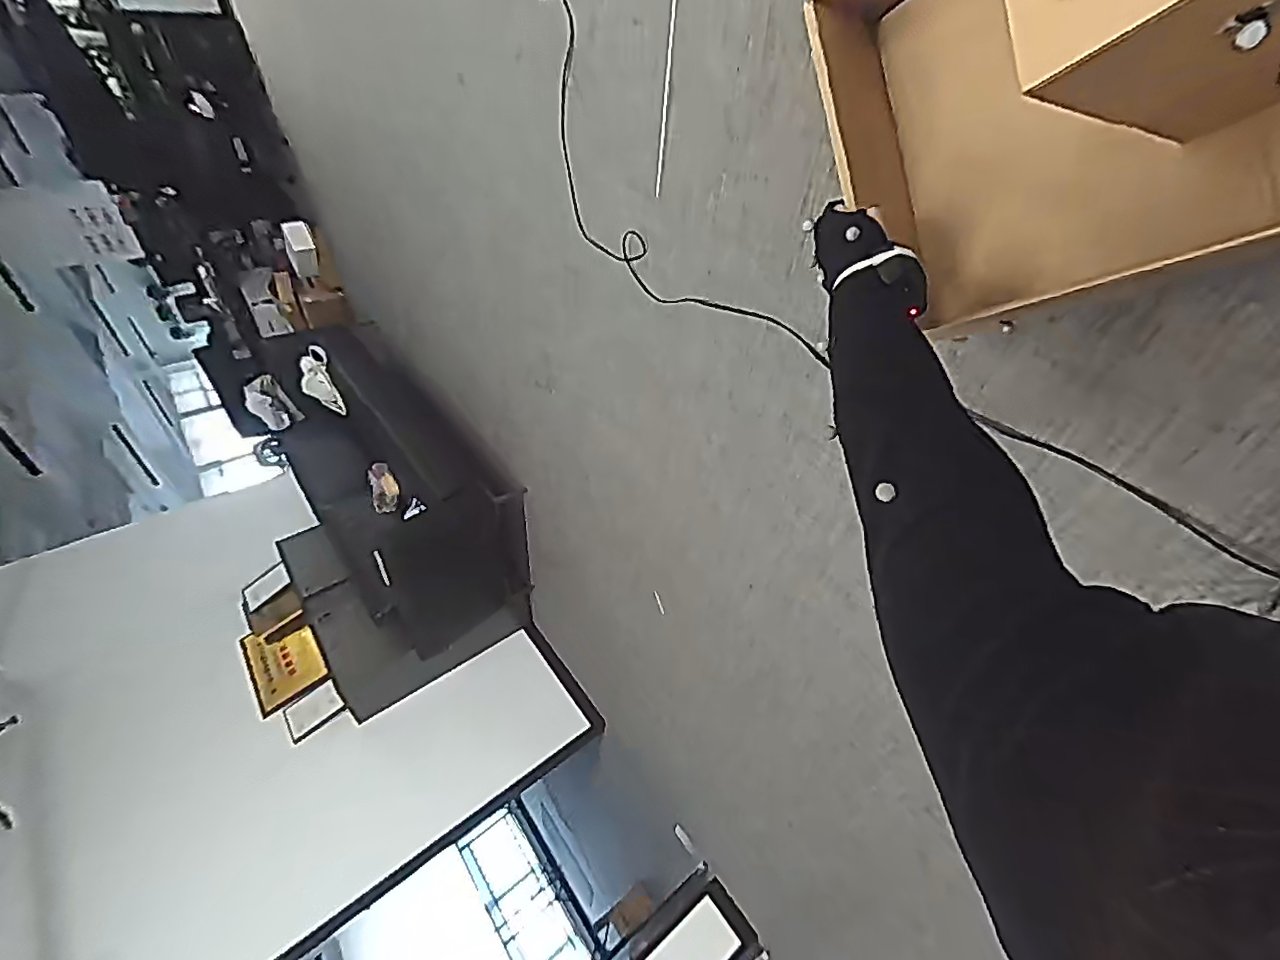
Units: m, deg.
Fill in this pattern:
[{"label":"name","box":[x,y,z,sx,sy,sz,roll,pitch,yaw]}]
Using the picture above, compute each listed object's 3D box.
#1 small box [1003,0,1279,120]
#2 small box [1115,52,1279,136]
[{"label":"small box","box":[0.316,-0.325,0.281,0.179,0.176,0.168,-6,99,57]},{"label":"small box","box":[0.449,-0.367,0.369,0.179,0.176,0.168,-8,98,57]}]
